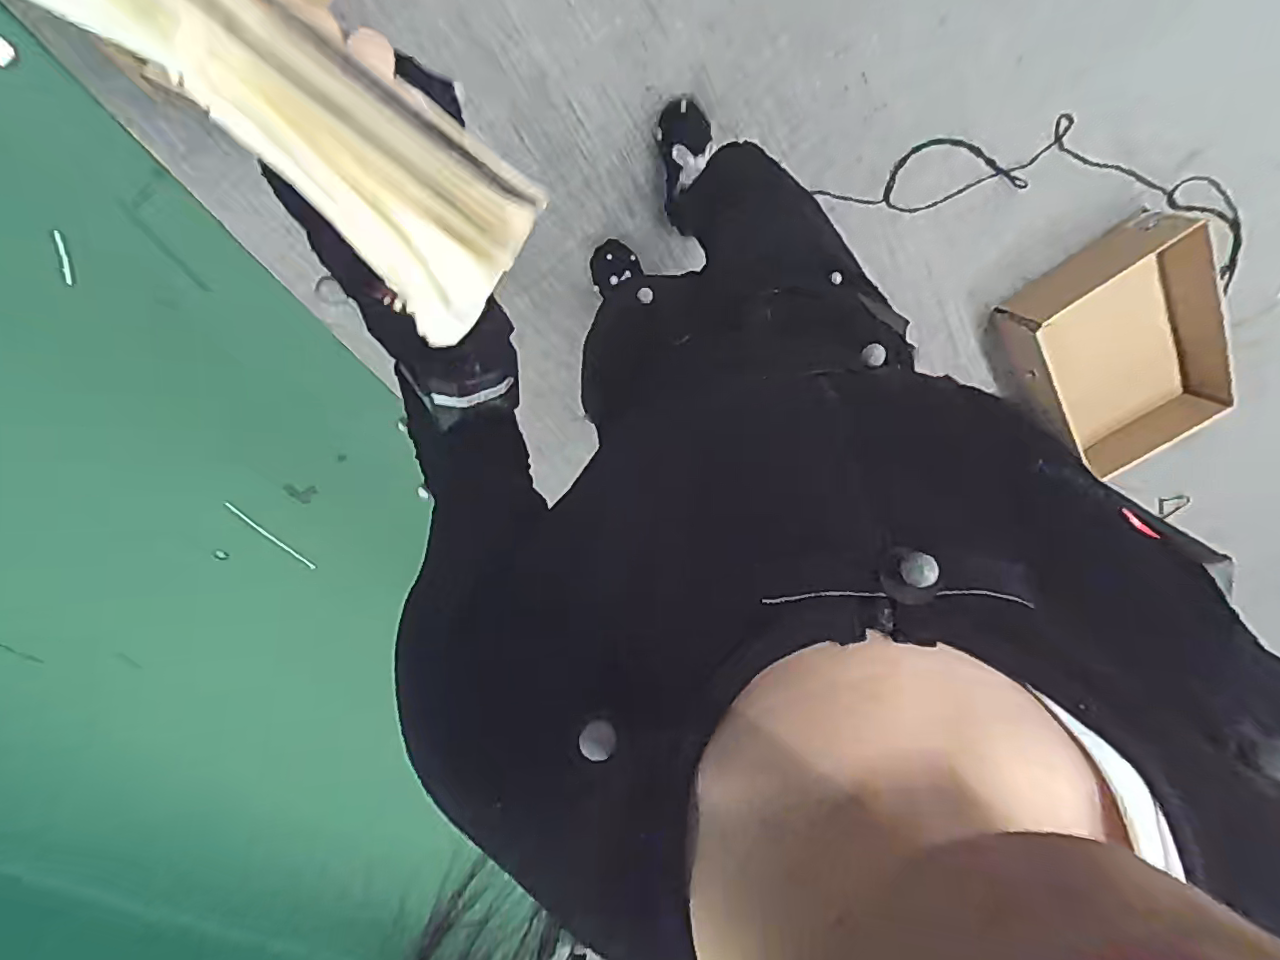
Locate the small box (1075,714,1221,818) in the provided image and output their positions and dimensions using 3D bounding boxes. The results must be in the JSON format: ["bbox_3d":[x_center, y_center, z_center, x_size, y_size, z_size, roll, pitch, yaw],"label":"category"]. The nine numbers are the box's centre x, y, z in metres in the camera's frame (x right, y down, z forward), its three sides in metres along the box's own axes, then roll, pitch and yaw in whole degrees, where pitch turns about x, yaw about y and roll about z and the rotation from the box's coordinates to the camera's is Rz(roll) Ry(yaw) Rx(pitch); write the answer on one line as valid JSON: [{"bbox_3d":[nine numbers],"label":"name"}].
[{"bbox_3d":[1.089,0.585,1.172,0.168,0.176,0.179,-29,119,13],"label":"small box"}]
